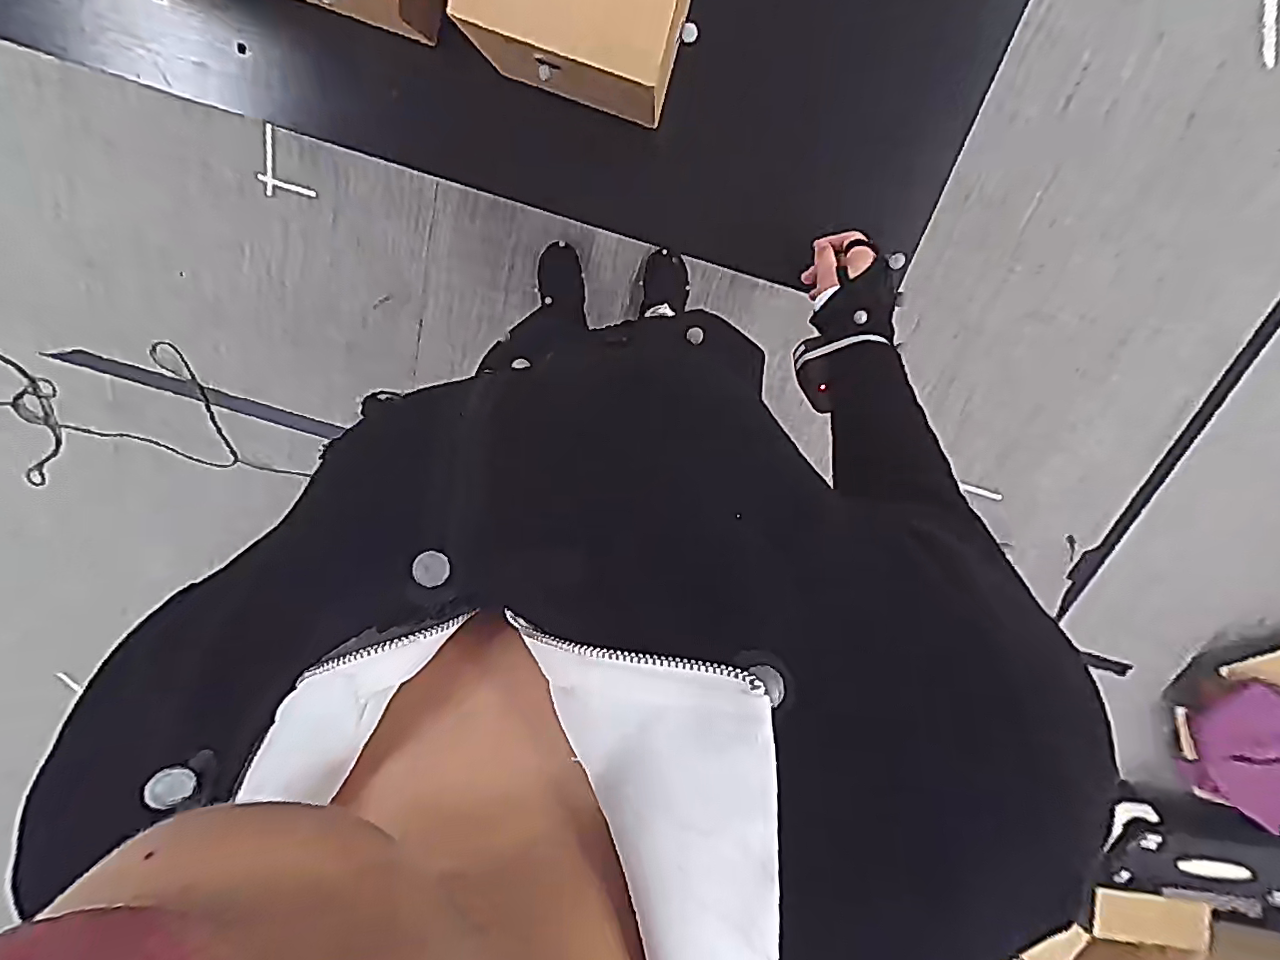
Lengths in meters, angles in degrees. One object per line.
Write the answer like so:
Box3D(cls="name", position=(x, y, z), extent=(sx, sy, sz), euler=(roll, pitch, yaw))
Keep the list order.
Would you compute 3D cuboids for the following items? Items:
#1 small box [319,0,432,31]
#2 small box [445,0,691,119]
Box3D(cls="small box", position=(-0.273, -0.516, 0.447), extent=(0.179, 0.176, 0.168), euler=(17, 113, -5))
Box3D(cls="small box", position=(-0.044, -0.445, 0.471), extent=(0.179, 0.176, 0.168), euler=(16, 113, -6))
